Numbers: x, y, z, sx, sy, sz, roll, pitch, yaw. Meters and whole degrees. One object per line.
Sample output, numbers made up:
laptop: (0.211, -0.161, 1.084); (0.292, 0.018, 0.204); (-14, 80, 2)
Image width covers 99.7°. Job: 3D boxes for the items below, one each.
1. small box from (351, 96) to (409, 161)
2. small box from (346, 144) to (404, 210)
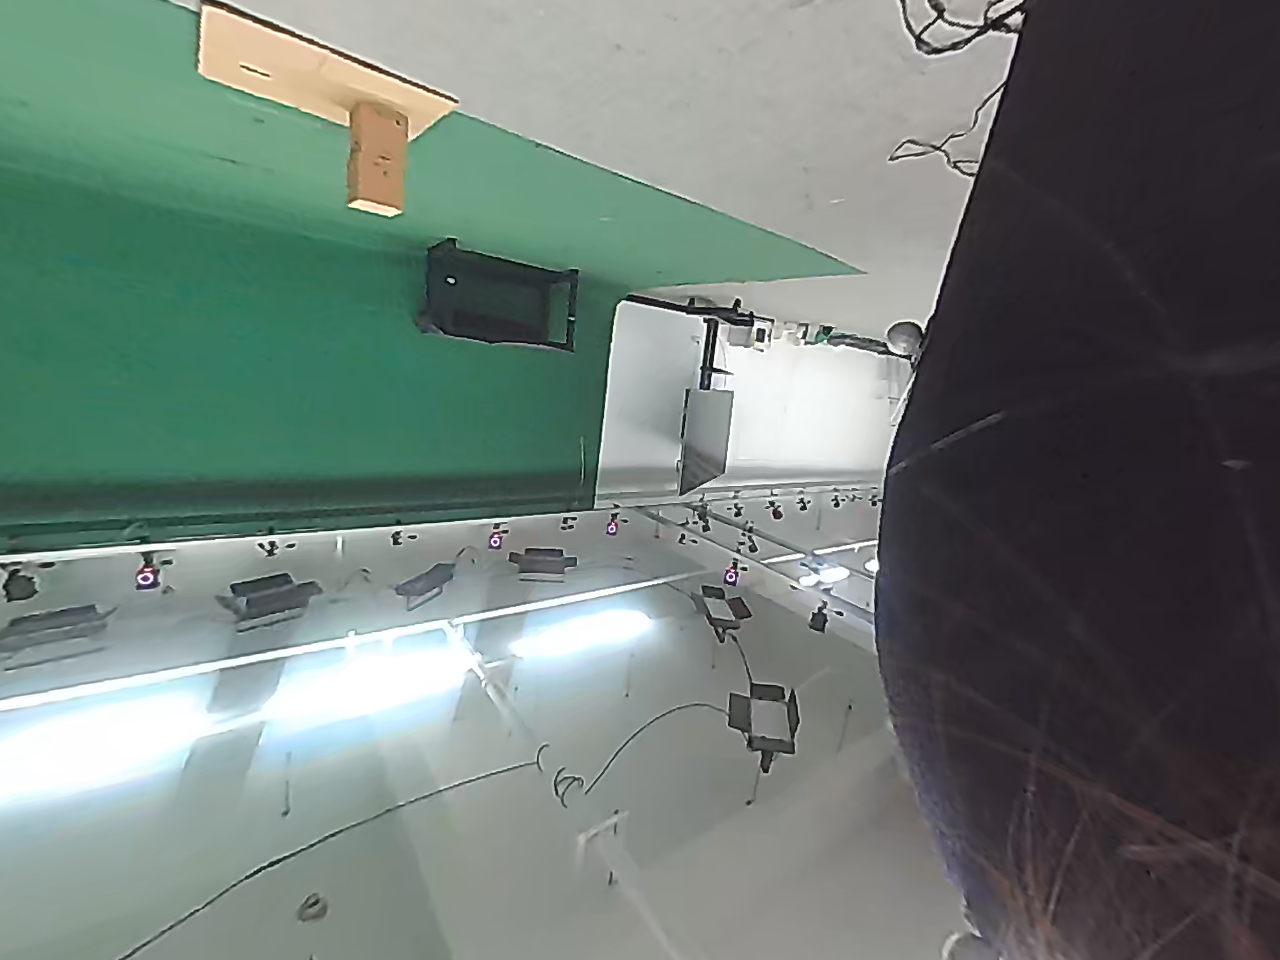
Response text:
small box: (-0.987, -1.319, 2.047); (0.168, 0.176, 0.179); (-4, -163, -40)
small box: (-1.019, -1.164, 2.086); (0.168, 0.176, 0.179); (-4, -164, -42)
